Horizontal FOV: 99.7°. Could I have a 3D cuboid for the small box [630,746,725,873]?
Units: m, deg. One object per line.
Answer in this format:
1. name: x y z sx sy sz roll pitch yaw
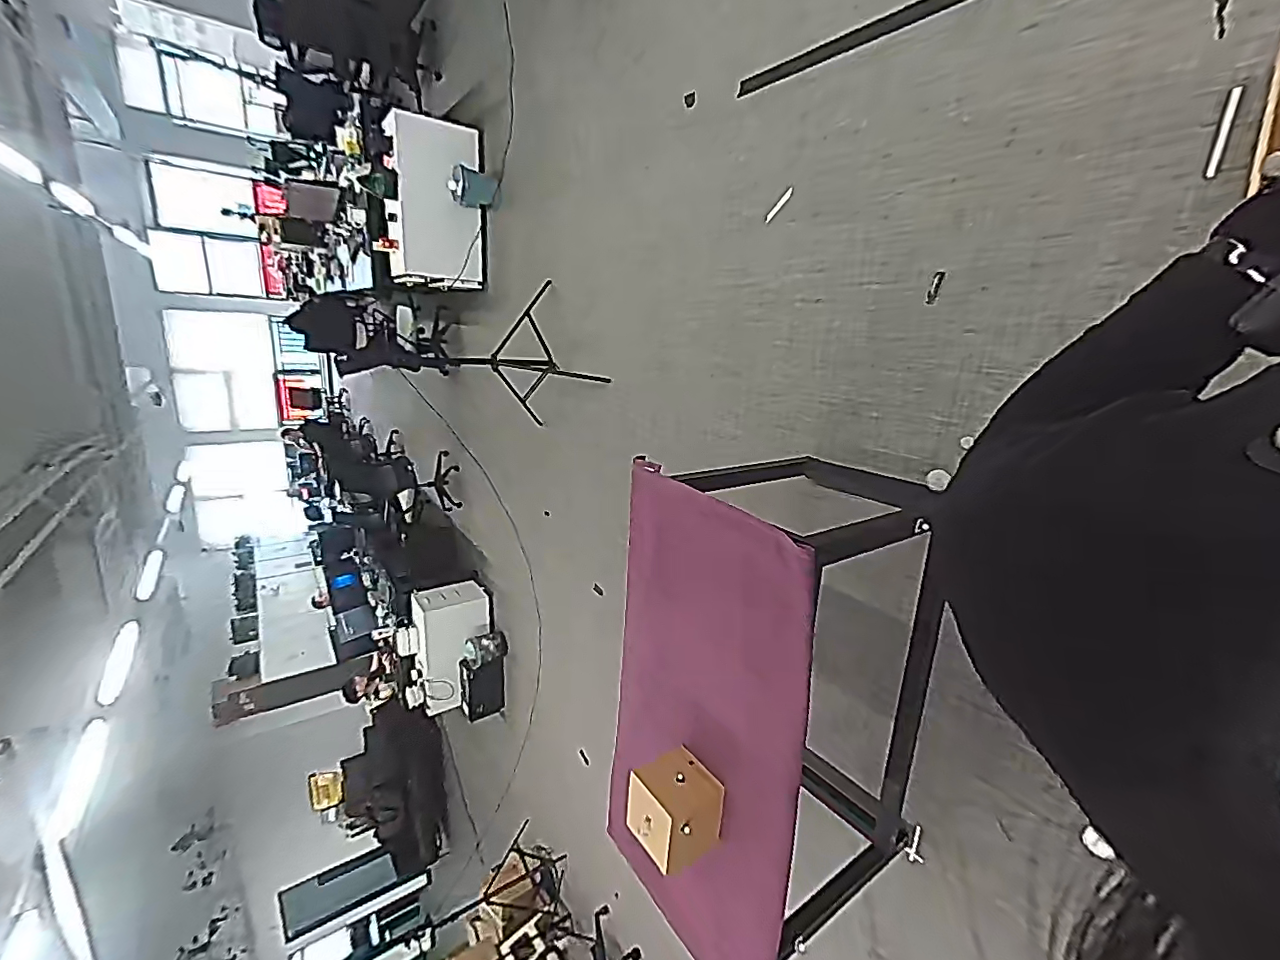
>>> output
1. small box: 0.093 0.802 1.338 0.168 0.176 0.179 25 117 52
